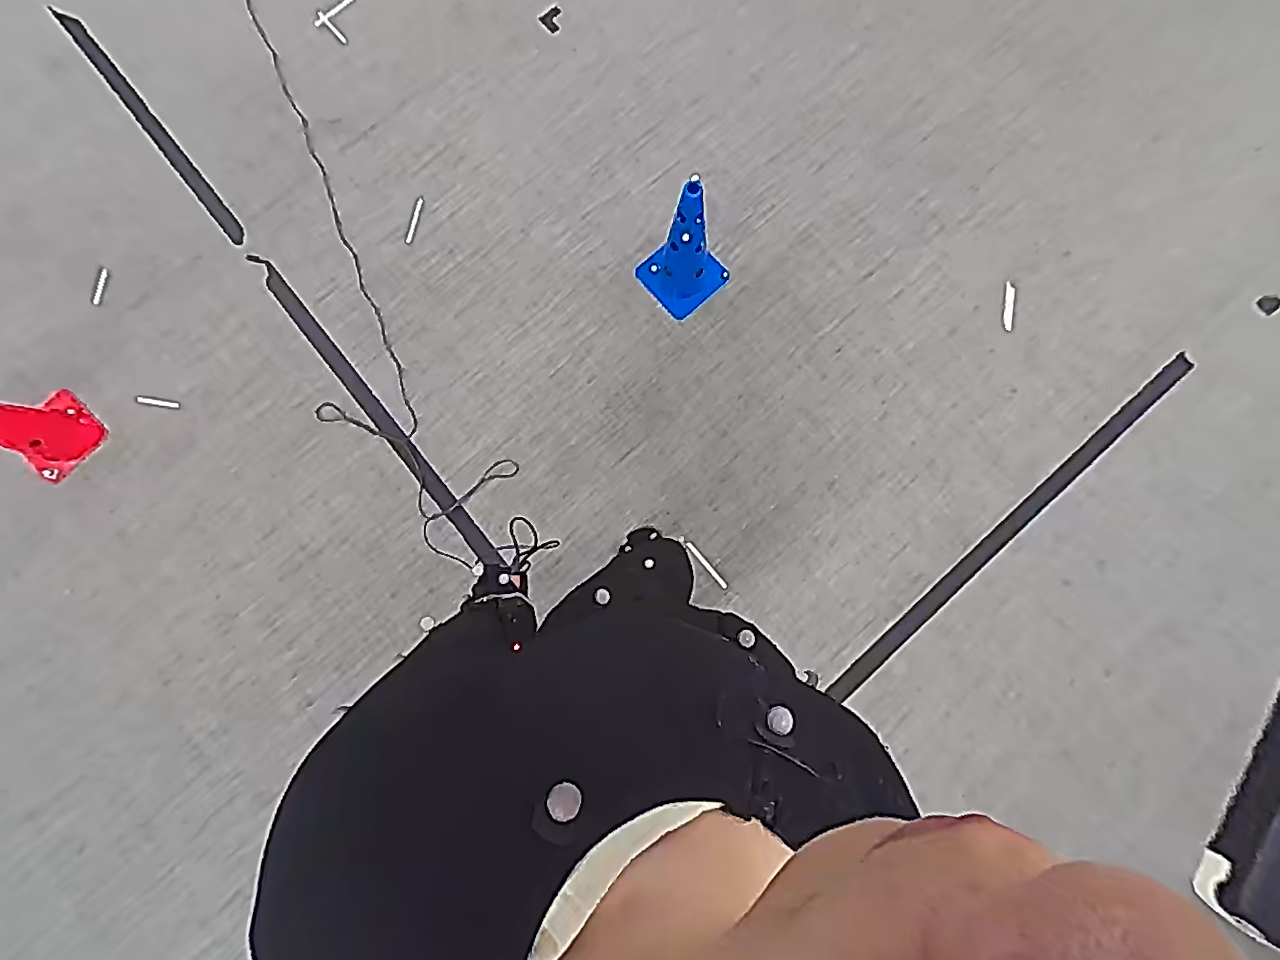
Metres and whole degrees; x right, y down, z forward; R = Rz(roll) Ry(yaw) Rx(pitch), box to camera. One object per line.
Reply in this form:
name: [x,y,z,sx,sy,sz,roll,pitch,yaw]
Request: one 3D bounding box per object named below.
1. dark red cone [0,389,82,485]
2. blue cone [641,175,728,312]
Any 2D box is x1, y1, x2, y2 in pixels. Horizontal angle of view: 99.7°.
dark red cone: [-1.582,-0.139,1.251,0.202,0.394,0.201,41,83,6]
blue cone: [0.118,-0.592,1.317,0.192,0.380,0.193,-40,83,-6]
